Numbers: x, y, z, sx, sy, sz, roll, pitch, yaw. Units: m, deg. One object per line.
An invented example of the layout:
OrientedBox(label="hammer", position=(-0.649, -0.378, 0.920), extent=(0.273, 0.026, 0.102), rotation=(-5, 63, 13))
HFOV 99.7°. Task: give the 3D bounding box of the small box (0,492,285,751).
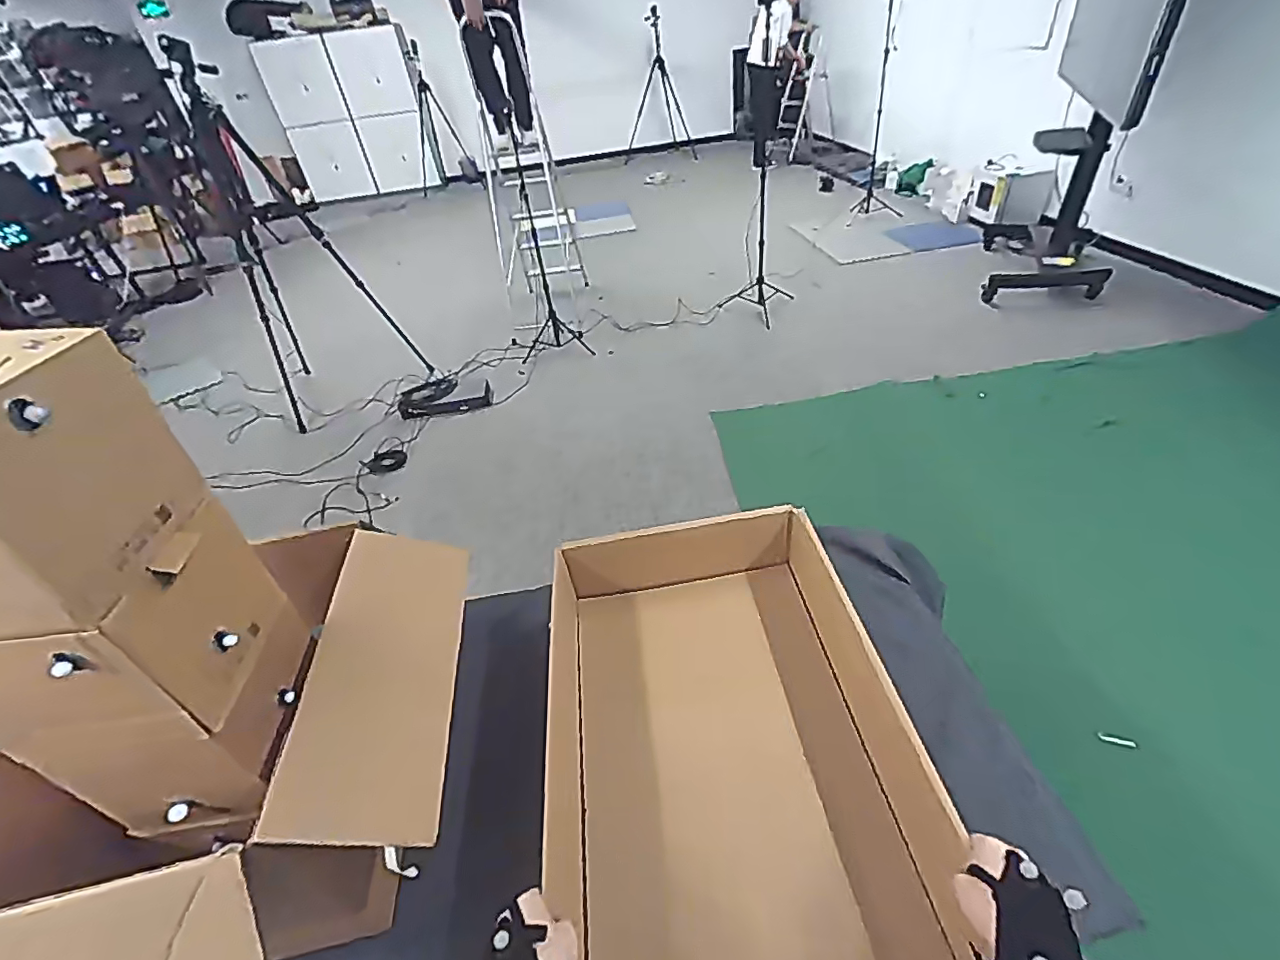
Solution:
OrientedBox(label="small box", position=(-0.486, 0.133, 0.510), extent=(0.179, 0.176, 0.168), rotation=(-5, 38, -5))

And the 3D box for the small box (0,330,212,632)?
OrientedBox(label="small box", position=(-0.492, 0.002, 0.410), extent=(0.179, 0.176, 0.168), rotation=(-5, 38, -3))
